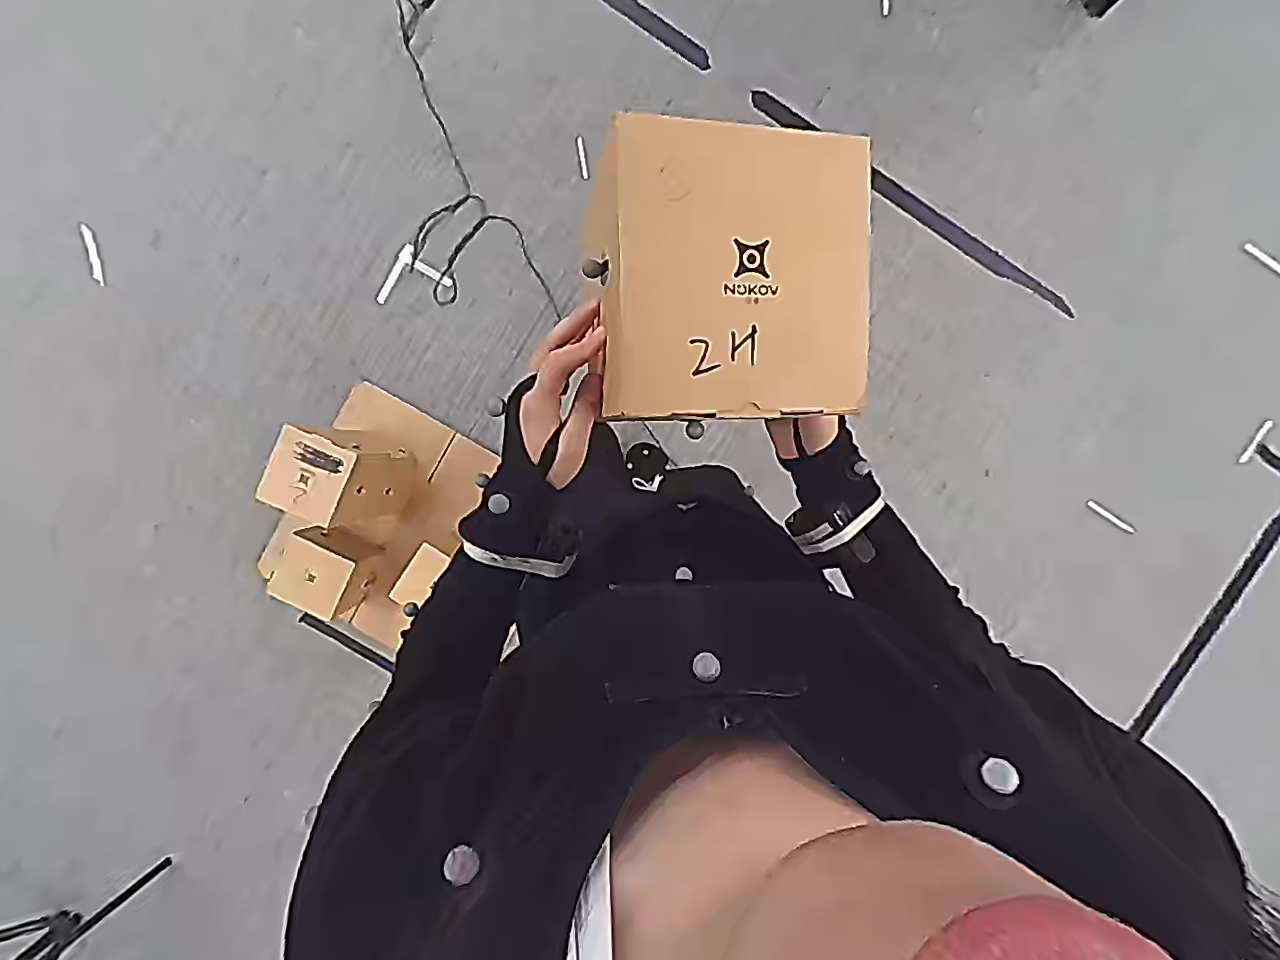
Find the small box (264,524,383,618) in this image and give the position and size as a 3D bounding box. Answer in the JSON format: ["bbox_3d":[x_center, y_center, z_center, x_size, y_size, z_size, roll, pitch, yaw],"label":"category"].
[{"bbox_3d":[-0.801,0.224,1.386,0.179,0.176,0.168,25,94,-3],"label":"small box"}]

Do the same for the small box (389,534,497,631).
[{"bbox_3d":[-0.498,0.253,1.391,0.179,0.176,0.168,34,92,-4],"label":"small box"}]

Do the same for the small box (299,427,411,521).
[{"bbox_3d":[-0.709,-0.019,1.370,0.168,0.176,0.179,26,93,-3],"label":"small box"}]

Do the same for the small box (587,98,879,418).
[{"bbox_3d":[0.052,-0.137,0.403,0.168,0.176,0.179,-2,96,-12],"label":"small box"}]
